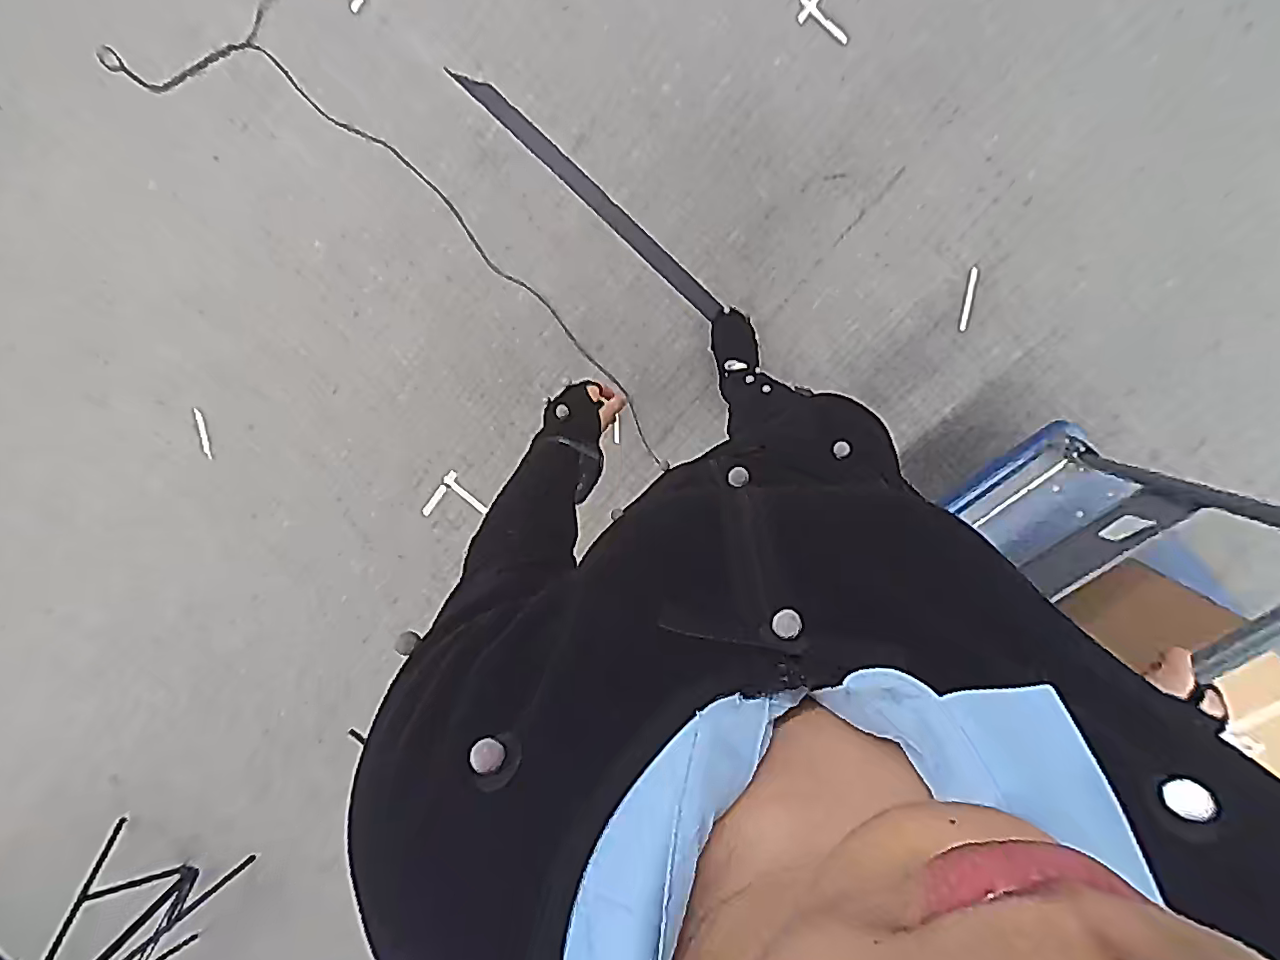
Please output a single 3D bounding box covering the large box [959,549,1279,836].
[{"bbox_3d":[0.985,0.416,1.122,0.408,0.320,0.320,-41,94,15],"label":"large box"}]
